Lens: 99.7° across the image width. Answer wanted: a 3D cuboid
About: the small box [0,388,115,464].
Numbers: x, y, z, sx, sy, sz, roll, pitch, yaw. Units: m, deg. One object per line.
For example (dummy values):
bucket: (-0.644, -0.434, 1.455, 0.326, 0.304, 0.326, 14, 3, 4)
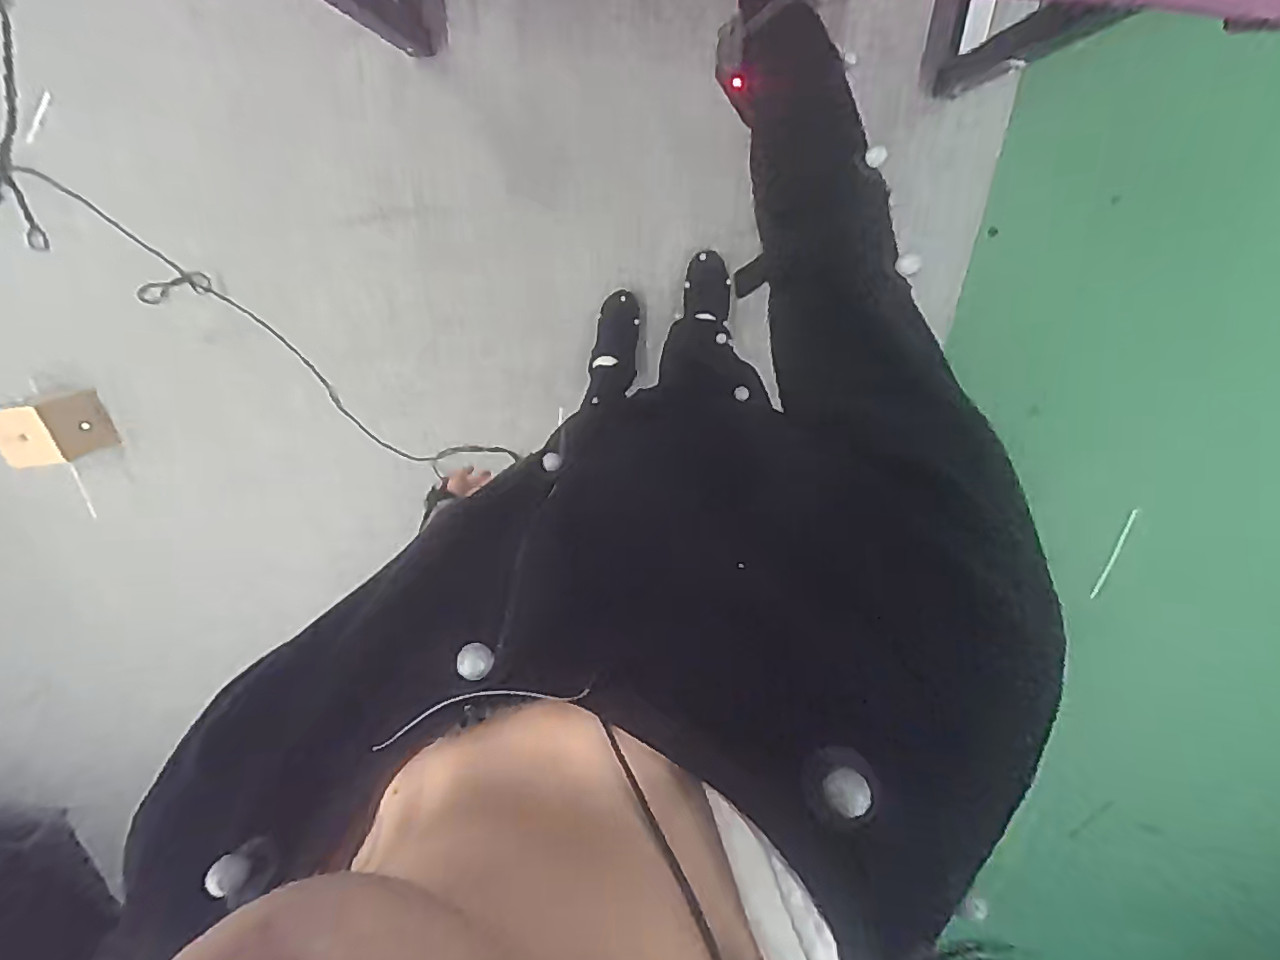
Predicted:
small box: (-1.636, -0.154, 1.509, 0.179, 0.176, 0.168, -3, 115, 5)
